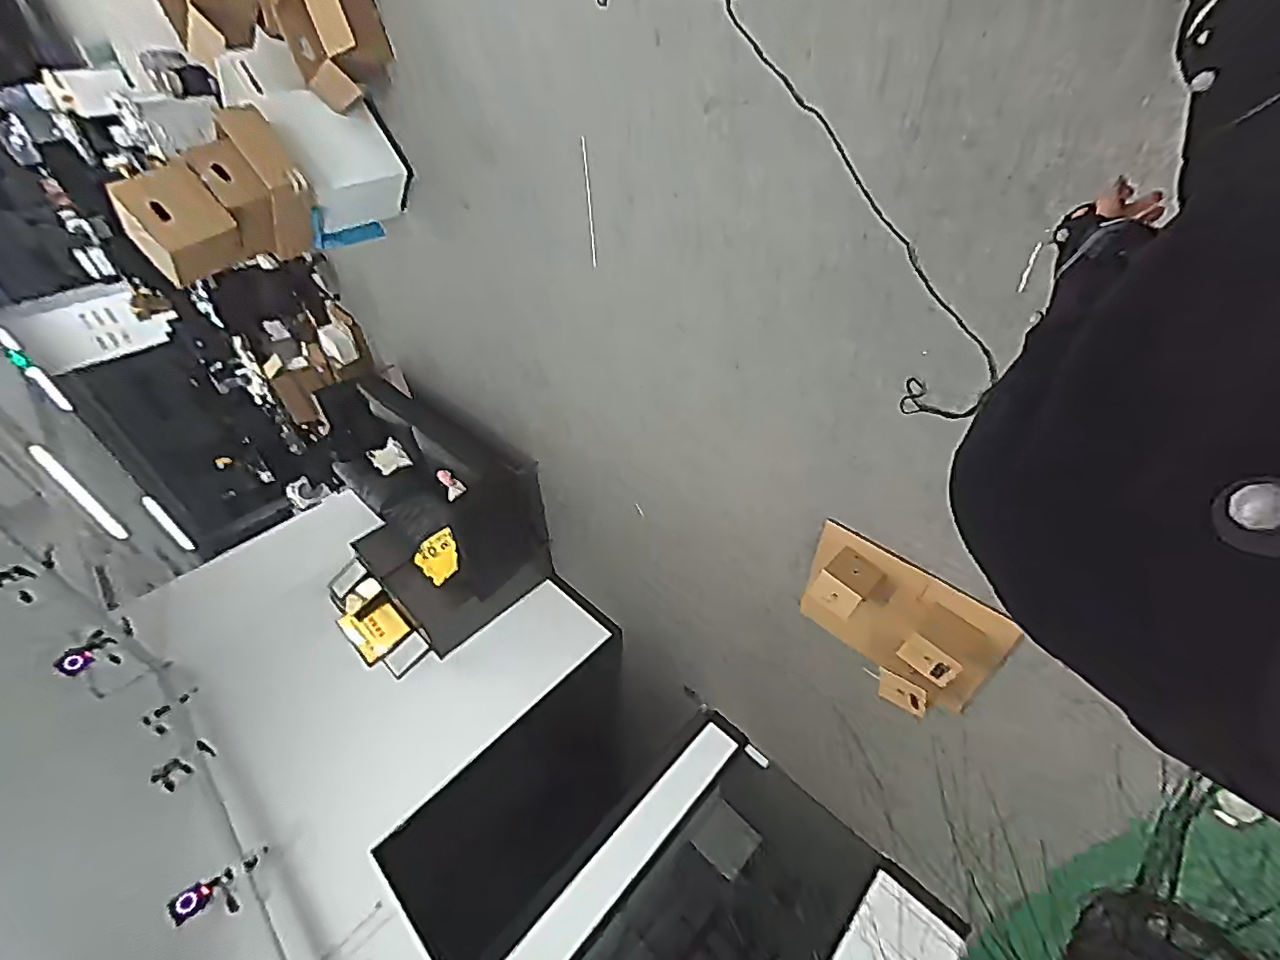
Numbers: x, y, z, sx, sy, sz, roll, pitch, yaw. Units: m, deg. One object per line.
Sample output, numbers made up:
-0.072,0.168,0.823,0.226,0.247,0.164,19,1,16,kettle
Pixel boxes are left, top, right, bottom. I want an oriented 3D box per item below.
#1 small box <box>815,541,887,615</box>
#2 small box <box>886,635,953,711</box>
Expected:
0.791,0.361,2.020,0.168,0.176,0.179,38,146,27,small box
1.048,0.716,2.027,0.179,0.176,0.168,22,136,44,small box
